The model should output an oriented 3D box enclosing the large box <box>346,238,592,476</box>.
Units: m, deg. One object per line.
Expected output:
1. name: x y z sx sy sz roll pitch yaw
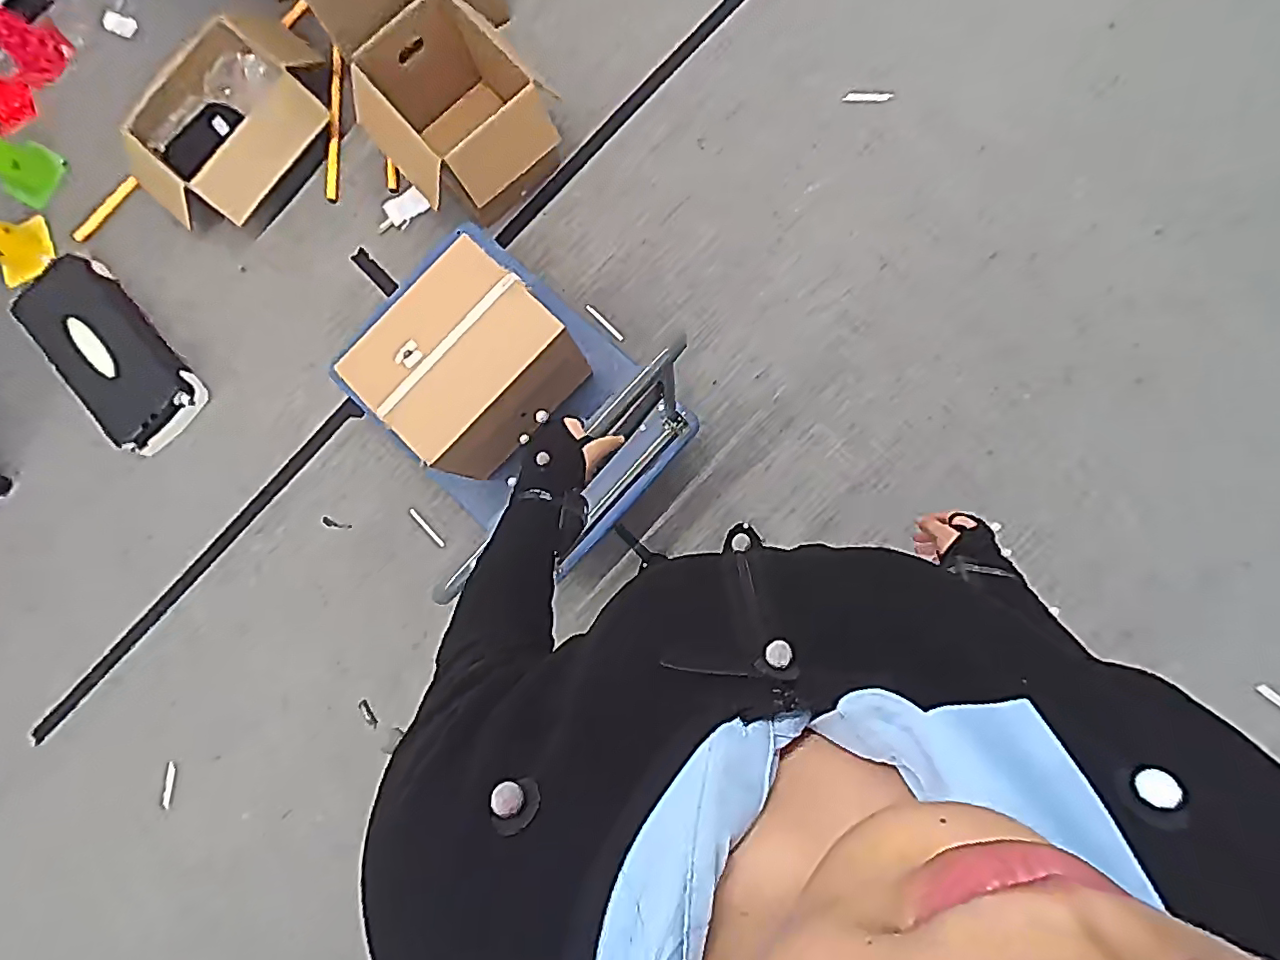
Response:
1. large box: -0.377 -0.264 1.288 0.320 0.320 0.408 44 91 9
